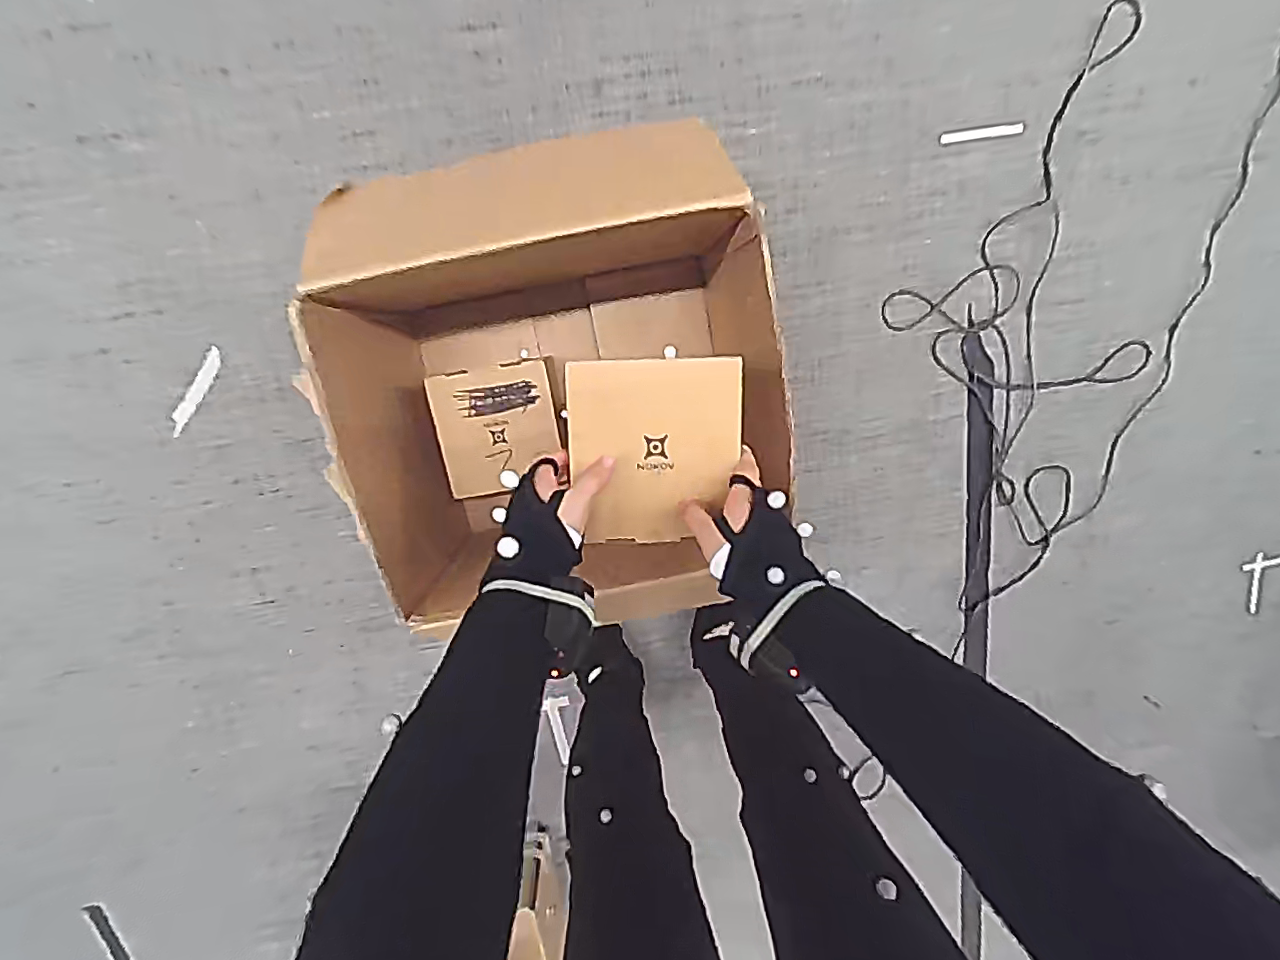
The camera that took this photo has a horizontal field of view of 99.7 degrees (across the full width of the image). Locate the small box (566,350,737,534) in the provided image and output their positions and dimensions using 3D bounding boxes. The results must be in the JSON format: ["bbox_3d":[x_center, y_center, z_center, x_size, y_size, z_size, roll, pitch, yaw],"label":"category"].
[{"bbox_3d":[0.008,-0.048,0.599,0.168,0.176,0.179,-2,101,-2],"label":"small box"}]
